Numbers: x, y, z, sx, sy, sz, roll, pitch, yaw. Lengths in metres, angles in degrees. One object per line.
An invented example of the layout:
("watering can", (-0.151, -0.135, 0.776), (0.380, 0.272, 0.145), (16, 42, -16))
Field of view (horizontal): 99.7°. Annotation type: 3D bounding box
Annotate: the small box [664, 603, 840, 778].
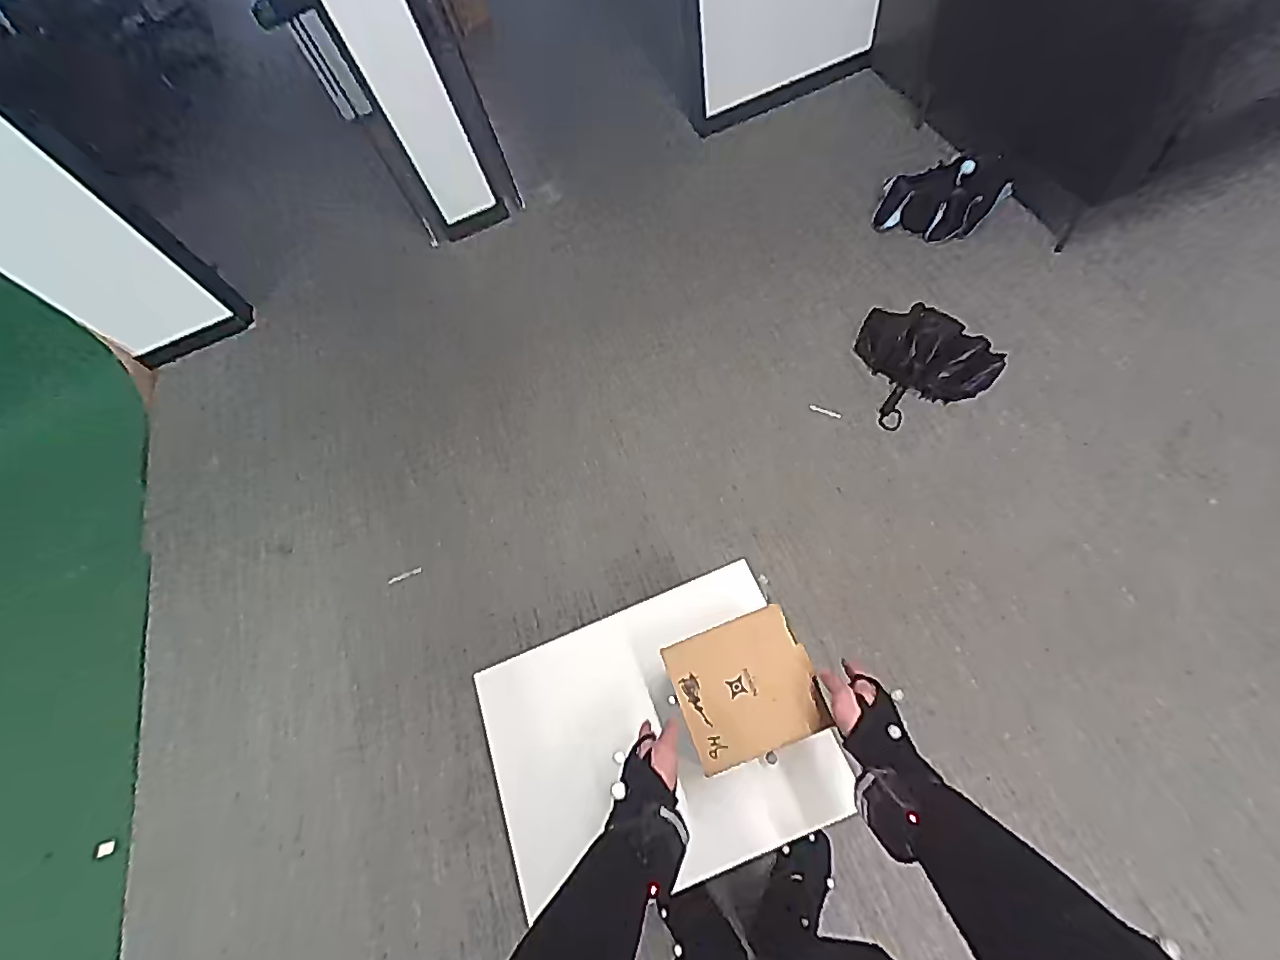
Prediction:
("small box", (0.144, 0.294, 0.752), (0.179, 0.176, 0.168), (-20, 62, -4))
